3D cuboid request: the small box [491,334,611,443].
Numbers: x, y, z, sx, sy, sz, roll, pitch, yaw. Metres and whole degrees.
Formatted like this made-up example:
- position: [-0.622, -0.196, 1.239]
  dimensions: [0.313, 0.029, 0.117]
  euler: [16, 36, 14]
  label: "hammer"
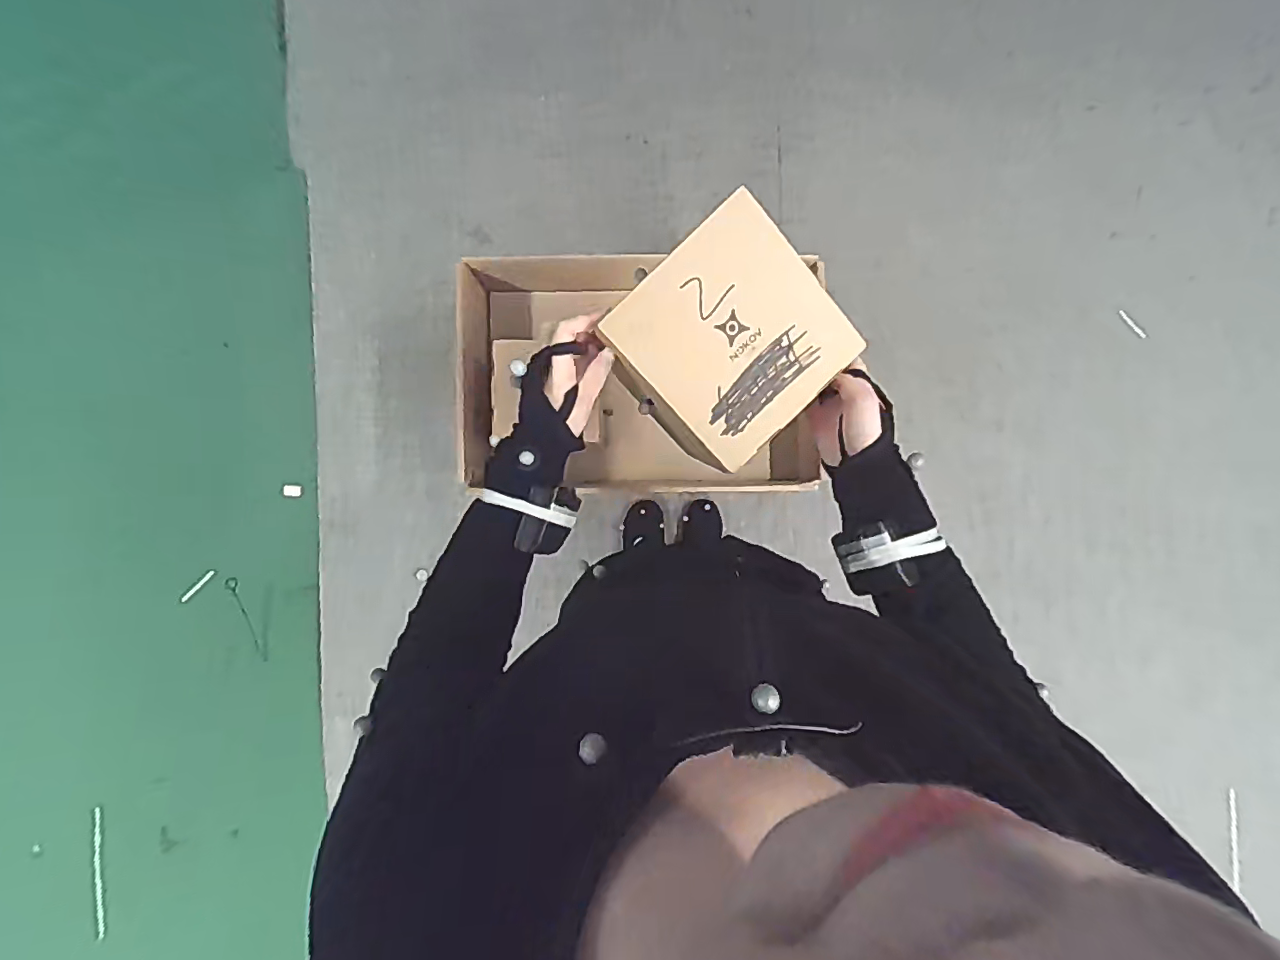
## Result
- position: [-0.148, -0.152, 0.947]
  dimensions: [0.179, 0.176, 0.168]
  euler: [1, 91, 2]
  label: "small box"
